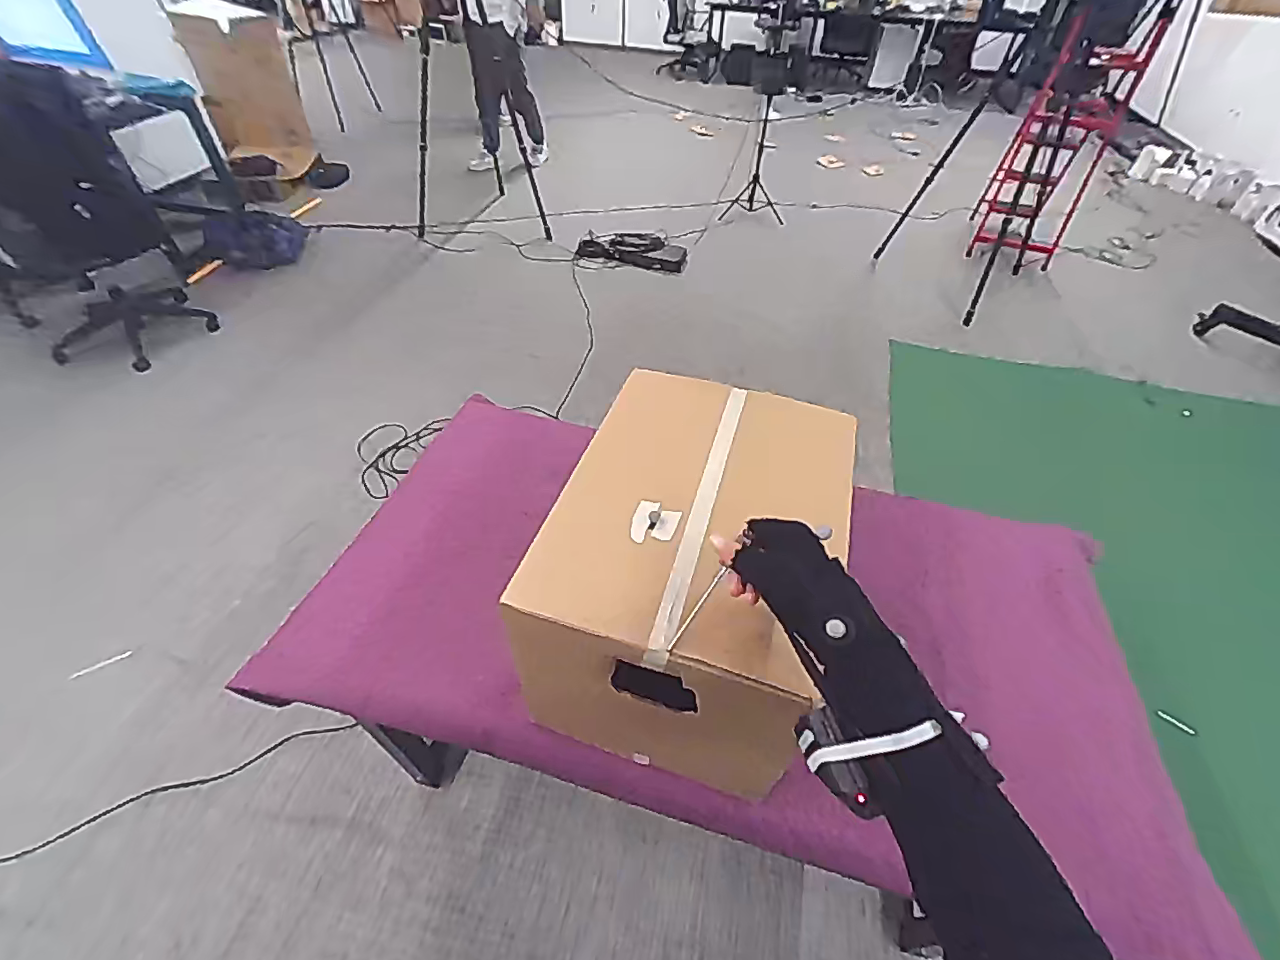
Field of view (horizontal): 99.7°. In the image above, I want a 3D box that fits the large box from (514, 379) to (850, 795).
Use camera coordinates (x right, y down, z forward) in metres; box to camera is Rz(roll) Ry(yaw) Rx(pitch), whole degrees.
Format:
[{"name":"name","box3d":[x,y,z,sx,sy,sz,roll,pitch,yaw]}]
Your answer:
[{"name":"large box","box3d":[0.070,0.129,0.734,0.320,0.320,0.408,15,48,11]}]
